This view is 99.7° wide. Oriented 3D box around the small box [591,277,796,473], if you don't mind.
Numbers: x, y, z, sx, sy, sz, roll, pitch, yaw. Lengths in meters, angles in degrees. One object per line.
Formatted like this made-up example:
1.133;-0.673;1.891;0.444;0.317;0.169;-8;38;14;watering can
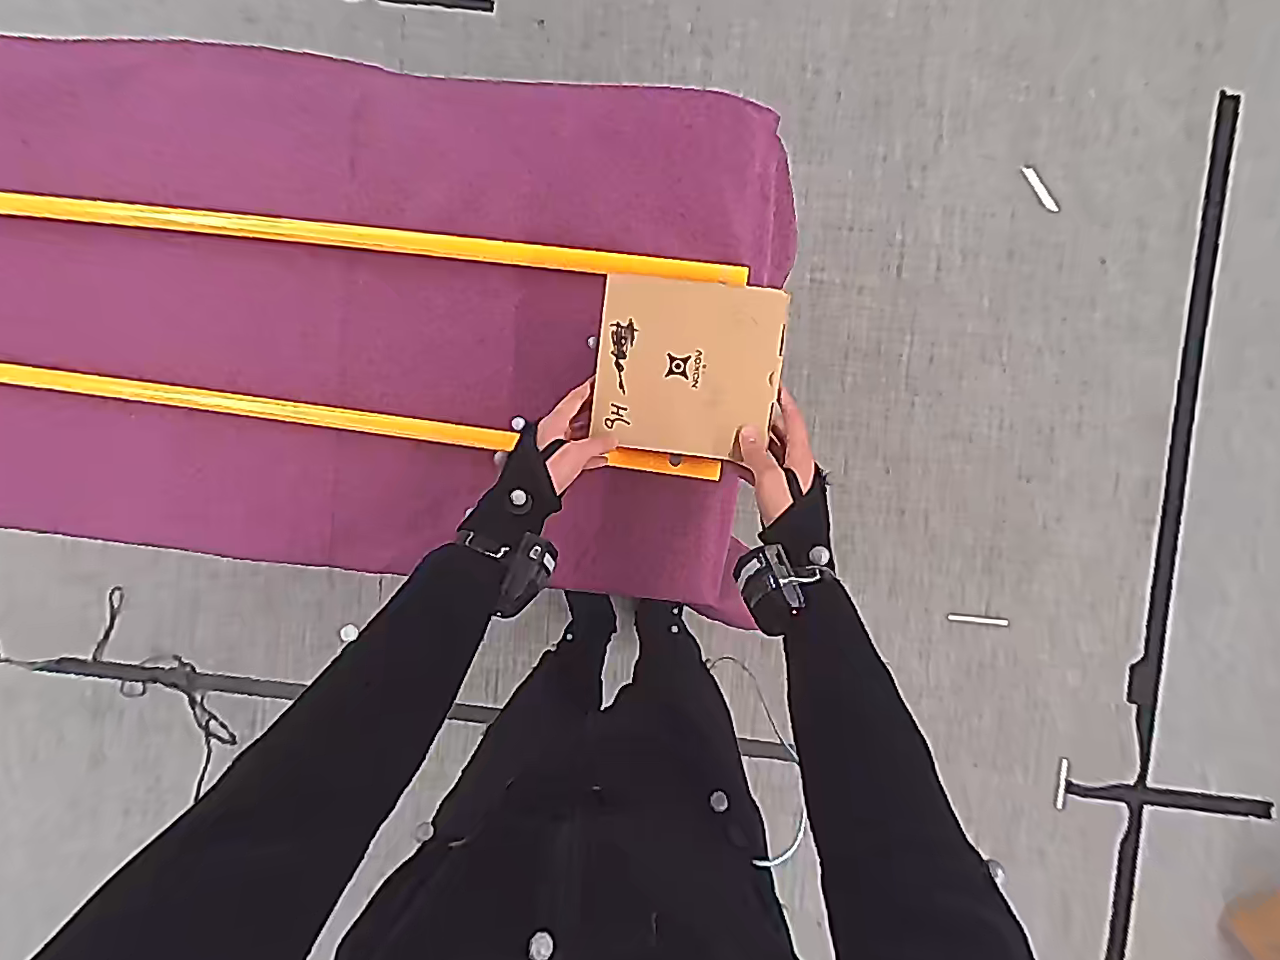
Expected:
0.053;-0.106;0.591;0.179;0.176;0.168;8;94;3;small box
